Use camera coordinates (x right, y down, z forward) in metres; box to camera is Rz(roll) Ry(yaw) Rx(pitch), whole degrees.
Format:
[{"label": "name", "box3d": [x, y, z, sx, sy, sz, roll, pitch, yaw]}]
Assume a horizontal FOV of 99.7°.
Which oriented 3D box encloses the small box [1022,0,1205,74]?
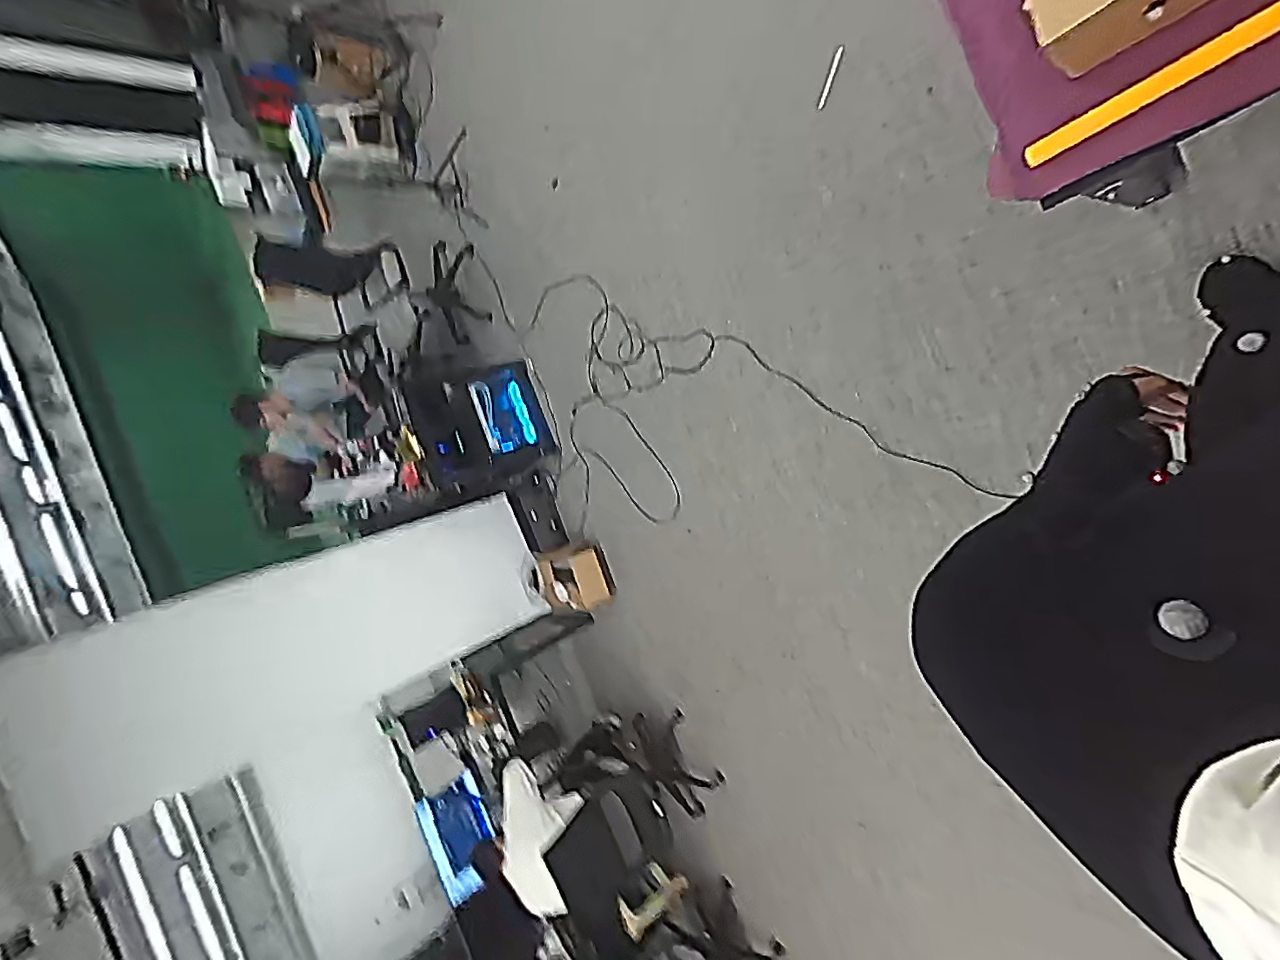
[{"label": "small box", "box3d": [0.481, -0.543, 0.521, 0.179, 0.176, 0.168, -14, 96, 50]}]
